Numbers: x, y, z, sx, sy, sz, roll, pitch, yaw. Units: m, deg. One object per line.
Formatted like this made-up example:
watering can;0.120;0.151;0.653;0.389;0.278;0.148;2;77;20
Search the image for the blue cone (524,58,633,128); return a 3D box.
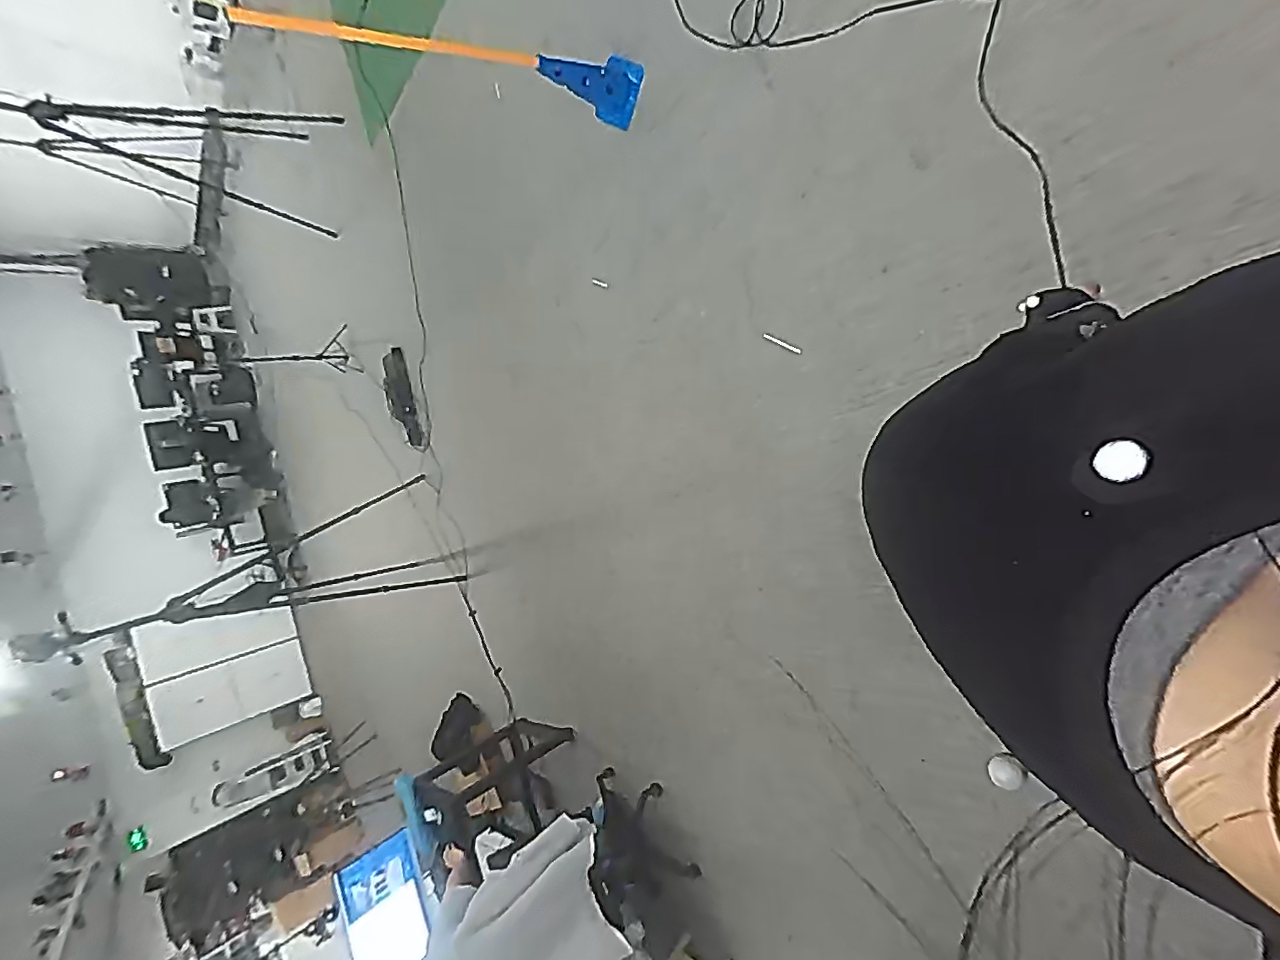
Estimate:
blue cone;-0.218;-1.339;1.814;0.192;0.380;0.193;42;129;29
